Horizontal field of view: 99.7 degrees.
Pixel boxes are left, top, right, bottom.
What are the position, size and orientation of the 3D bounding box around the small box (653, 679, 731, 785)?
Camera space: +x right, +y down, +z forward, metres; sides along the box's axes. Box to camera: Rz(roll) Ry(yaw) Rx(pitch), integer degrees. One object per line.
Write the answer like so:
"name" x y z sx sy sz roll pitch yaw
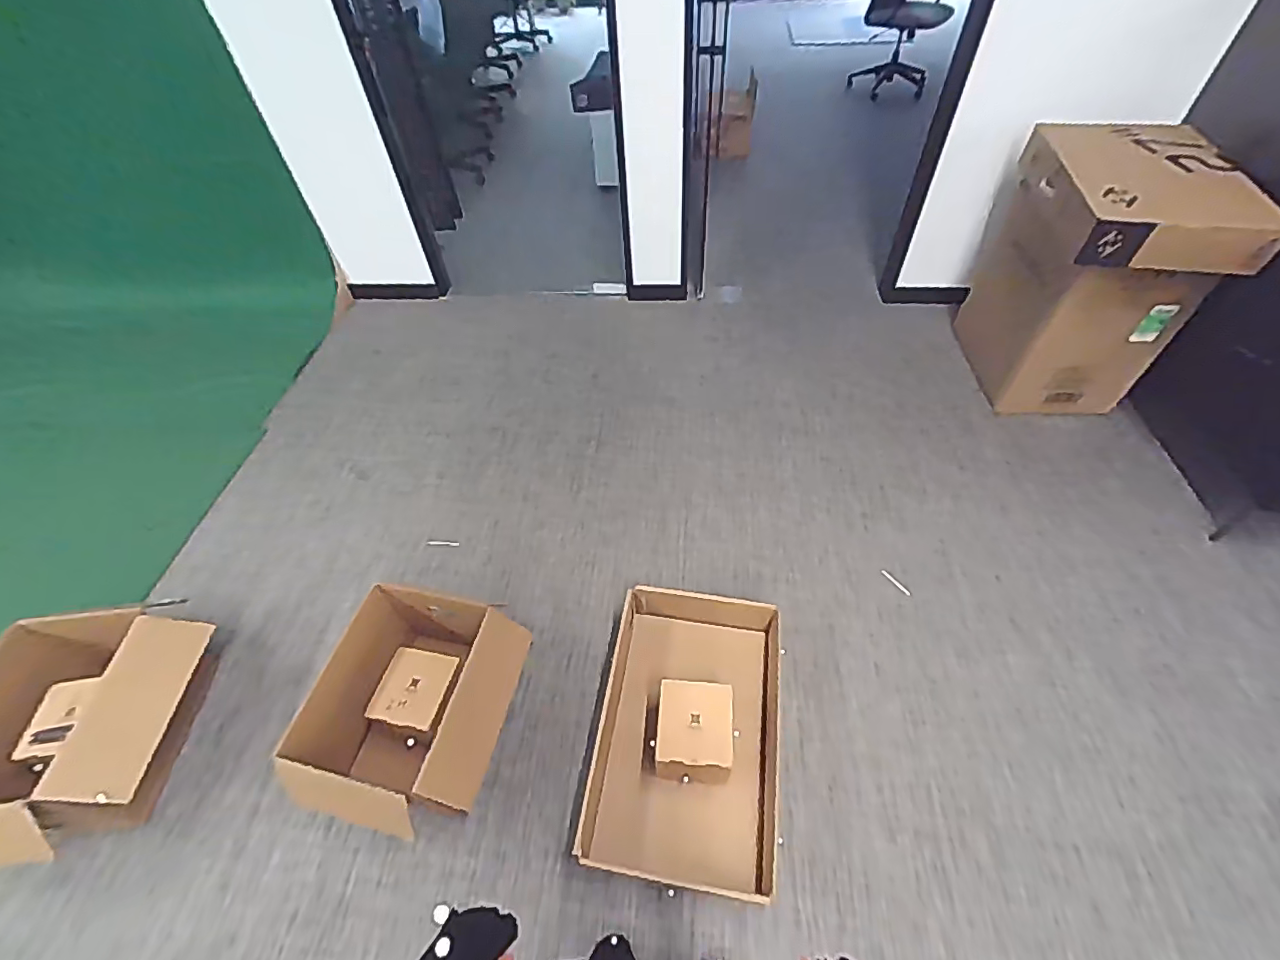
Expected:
"small box" 0.118 0.583 1.246 0.168 0.176 0.179 3 50 5
